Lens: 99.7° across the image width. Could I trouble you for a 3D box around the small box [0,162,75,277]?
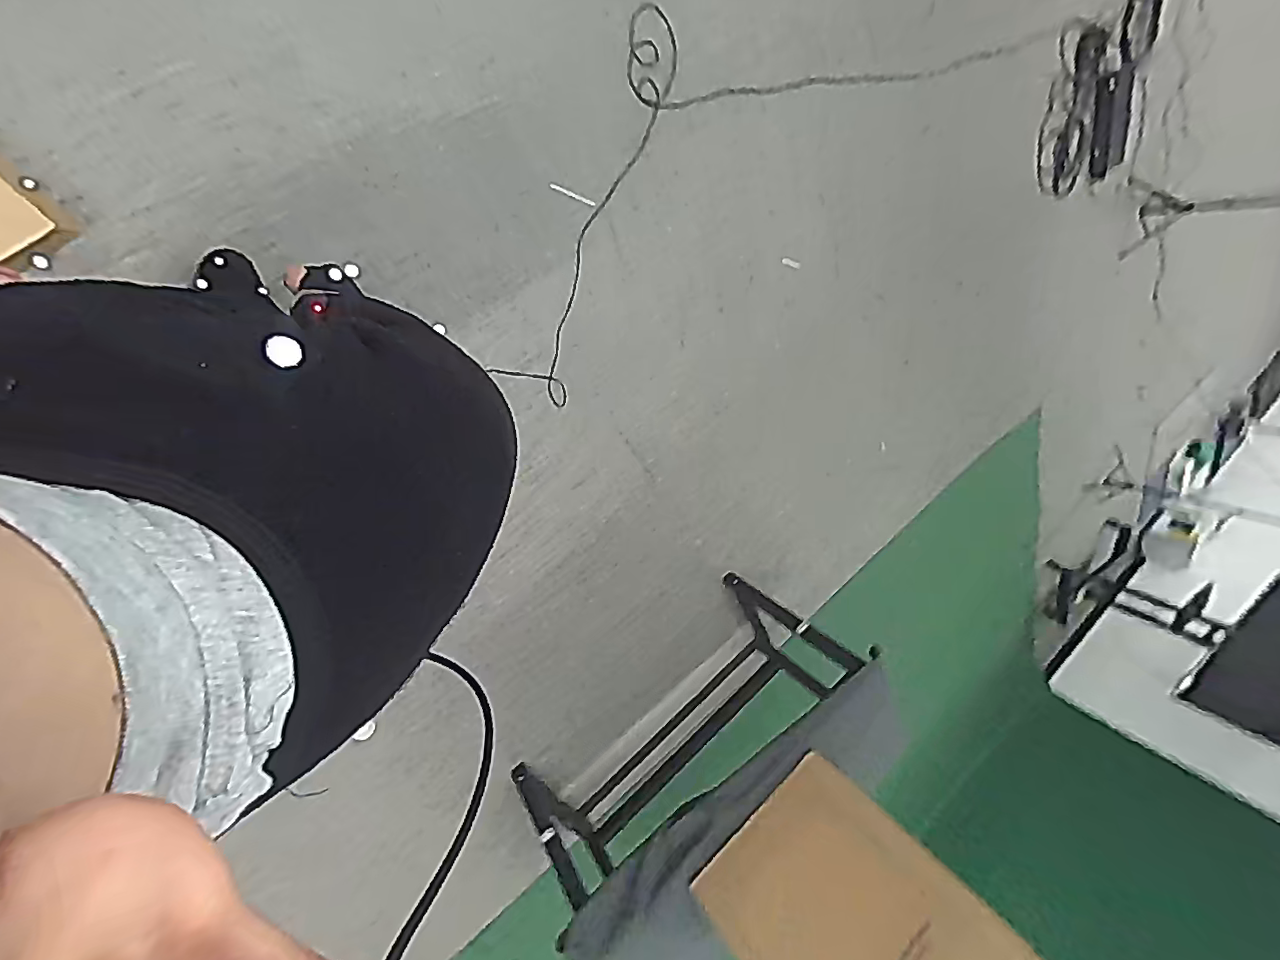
[{"bbox_3d":[-1.148,-0.462,0.923,0.168,0.176,0.179,-43,127,-12],"label":"small box"}]
